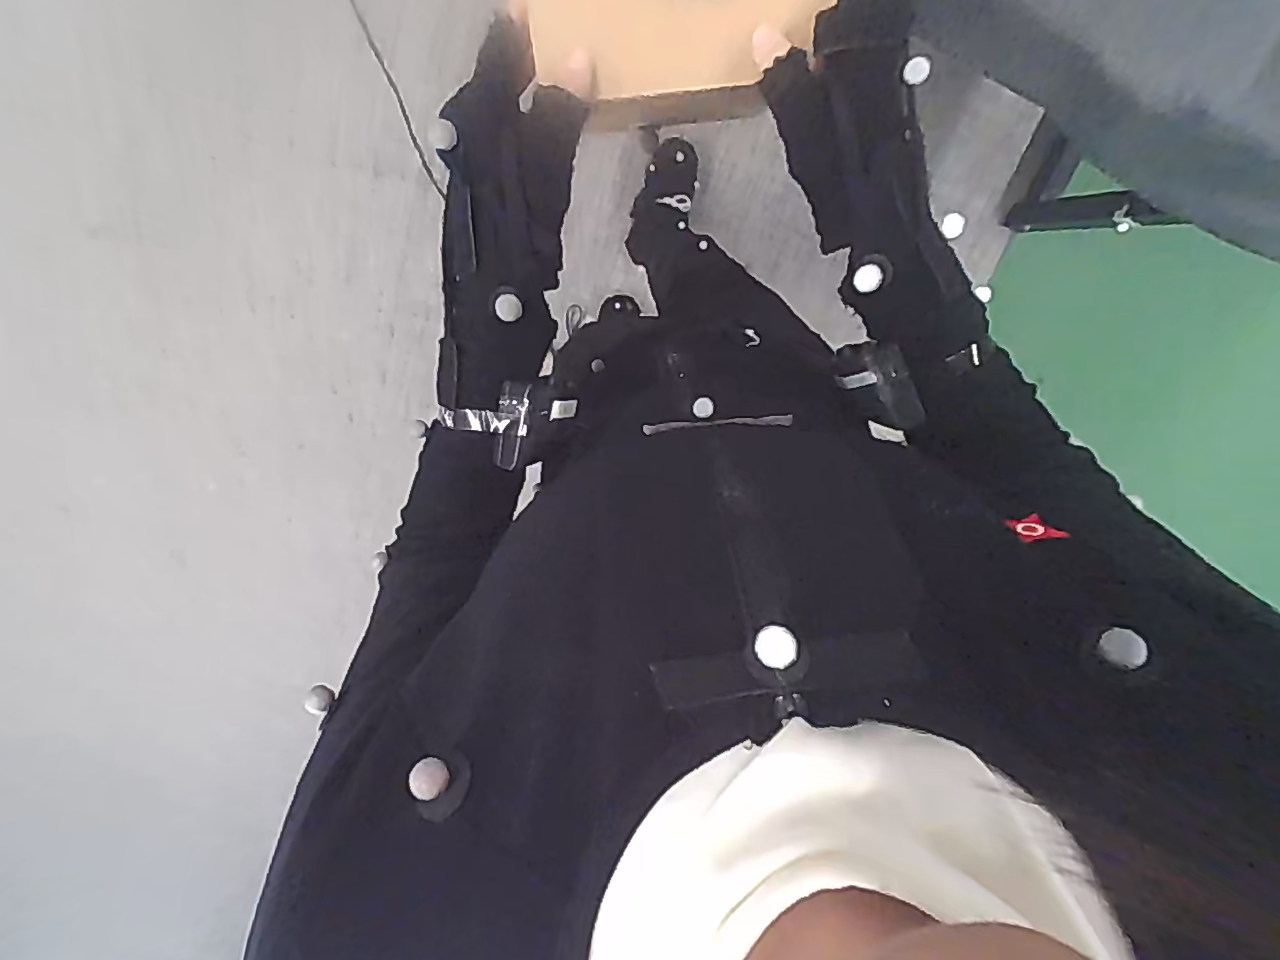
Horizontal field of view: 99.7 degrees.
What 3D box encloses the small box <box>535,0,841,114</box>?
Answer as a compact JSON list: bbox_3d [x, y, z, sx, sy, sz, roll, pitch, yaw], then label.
[{"bbox_3d":[0.015,-0.344,0.328,0.168,0.176,0.179,-7,119,0],"label":"small box"}]
